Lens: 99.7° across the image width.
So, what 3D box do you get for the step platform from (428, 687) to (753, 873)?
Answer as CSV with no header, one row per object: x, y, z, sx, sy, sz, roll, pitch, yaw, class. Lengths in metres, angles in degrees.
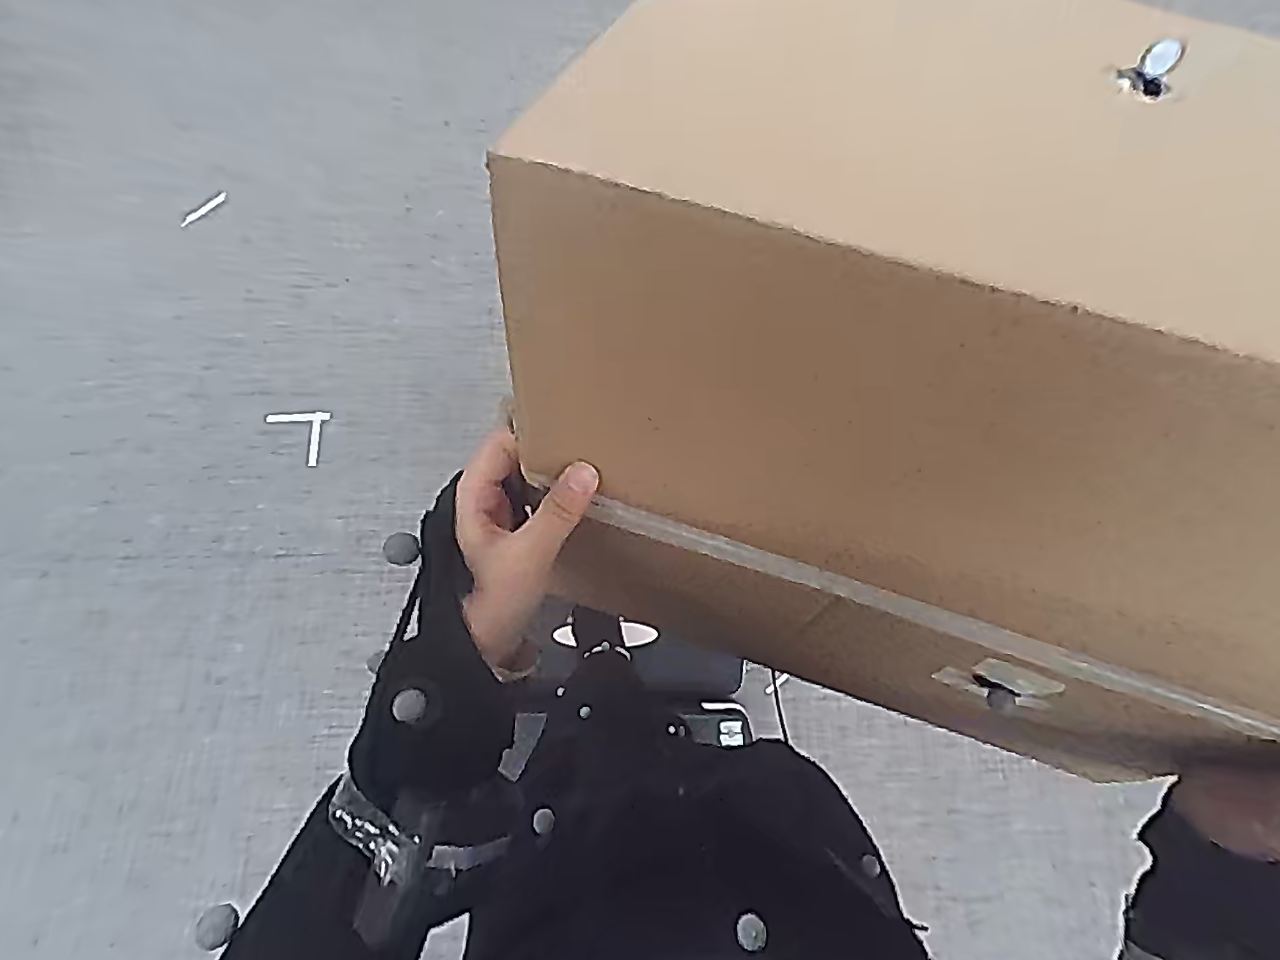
-0.099,0.645,1.192,0.684,0.204,0.286,5,75,2,step platform
